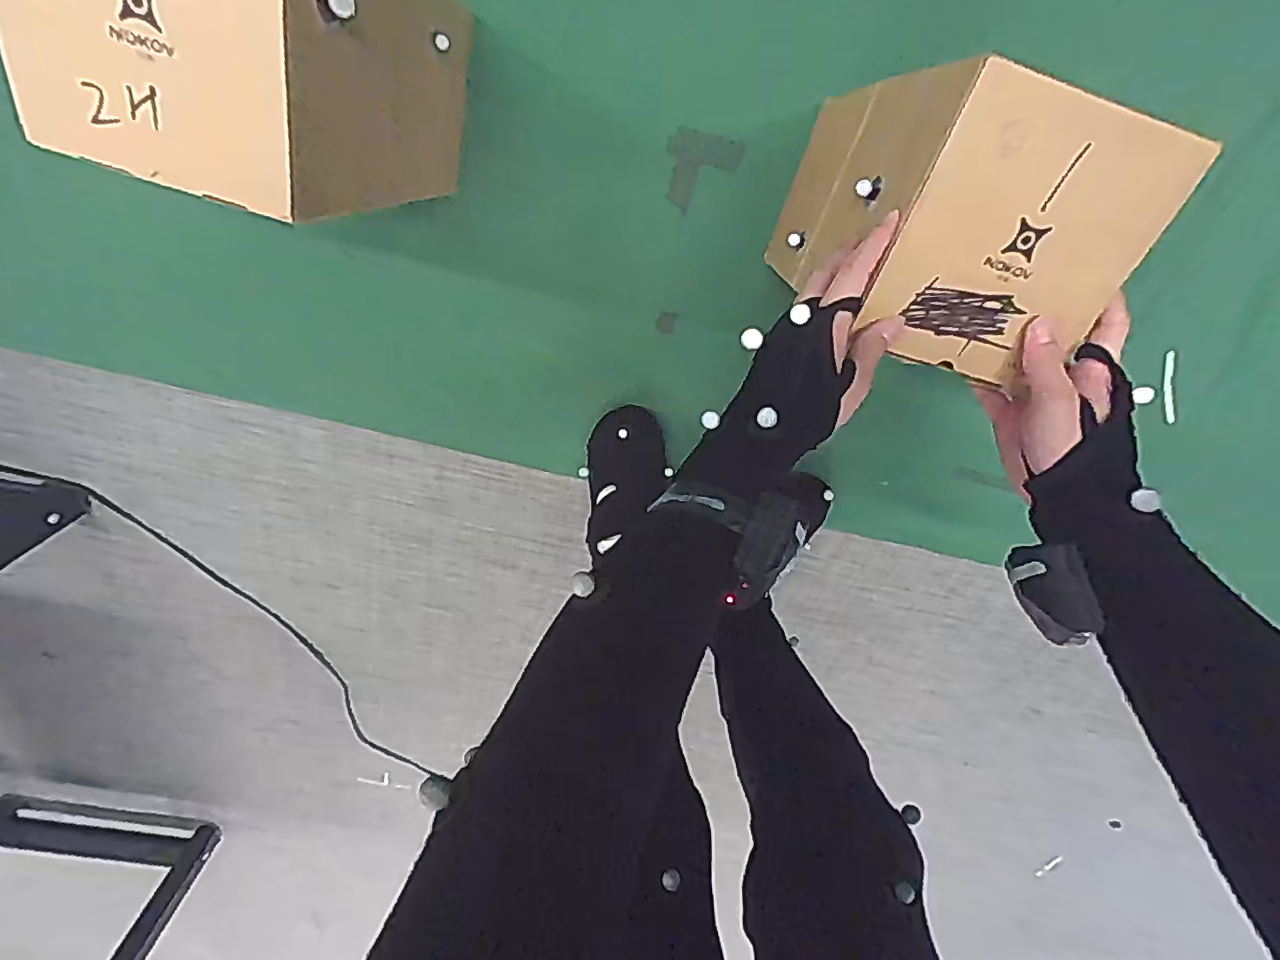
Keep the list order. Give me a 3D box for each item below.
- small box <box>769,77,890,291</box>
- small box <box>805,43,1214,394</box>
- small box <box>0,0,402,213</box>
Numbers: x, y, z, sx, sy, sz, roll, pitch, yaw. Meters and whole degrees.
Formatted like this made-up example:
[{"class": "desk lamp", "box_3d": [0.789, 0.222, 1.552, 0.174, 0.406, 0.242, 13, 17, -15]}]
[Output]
[{"class": "small box", "box_3d": [0.251, -0.284, 0.565, 0.168, 0.176, 0.179, 14, 122, -7]}, {"class": "small box", "box_3d": [0.248, -0.197, 0.426, 0.168, 0.176, 0.179, 15, 121, -8]}, {"class": "small box", "box_3d": [-0.281, -0.308, 0.372, 0.168, 0.176, 0.179, 16, 121, -7]}]
